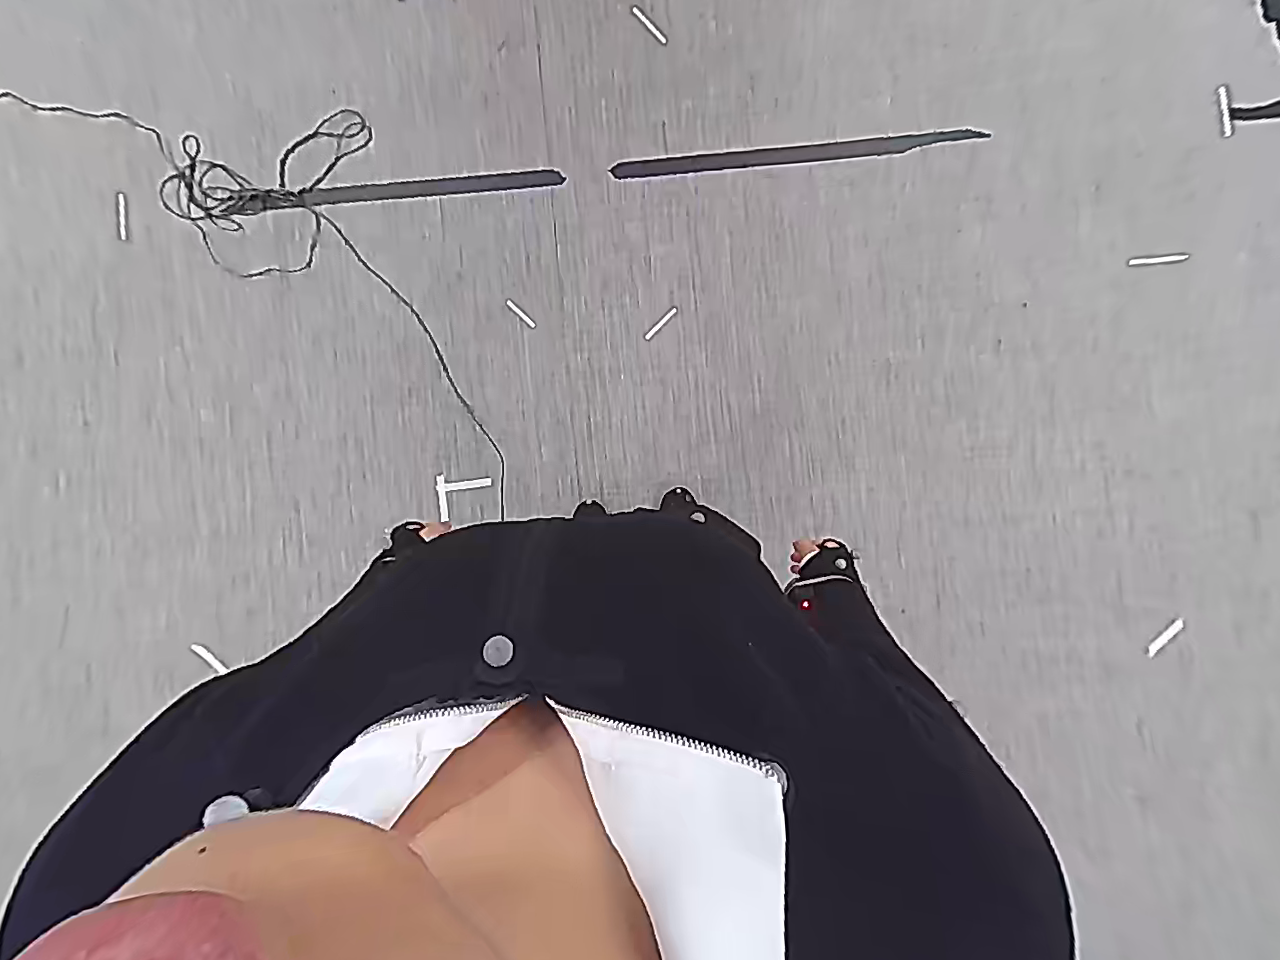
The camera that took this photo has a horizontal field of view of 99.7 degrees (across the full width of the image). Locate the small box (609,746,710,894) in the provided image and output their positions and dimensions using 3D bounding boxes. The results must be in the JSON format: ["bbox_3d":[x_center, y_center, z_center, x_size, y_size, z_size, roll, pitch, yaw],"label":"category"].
[{"bbox_3d":[0.039,0.644,1.042,0.168,0.176,0.179,-8,88,2],"label":"small box"}]

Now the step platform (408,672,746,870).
[{"bbox_3d":[-0.126,0.614,1.178,0.684,0.204,0.286,-7,89,2],"label":"step platform"}]

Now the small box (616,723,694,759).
[{"bbox_3d":[0.043,0.643,1.206,0.168,0.176,0.179,-7,88,2],"label":"small box"}]
